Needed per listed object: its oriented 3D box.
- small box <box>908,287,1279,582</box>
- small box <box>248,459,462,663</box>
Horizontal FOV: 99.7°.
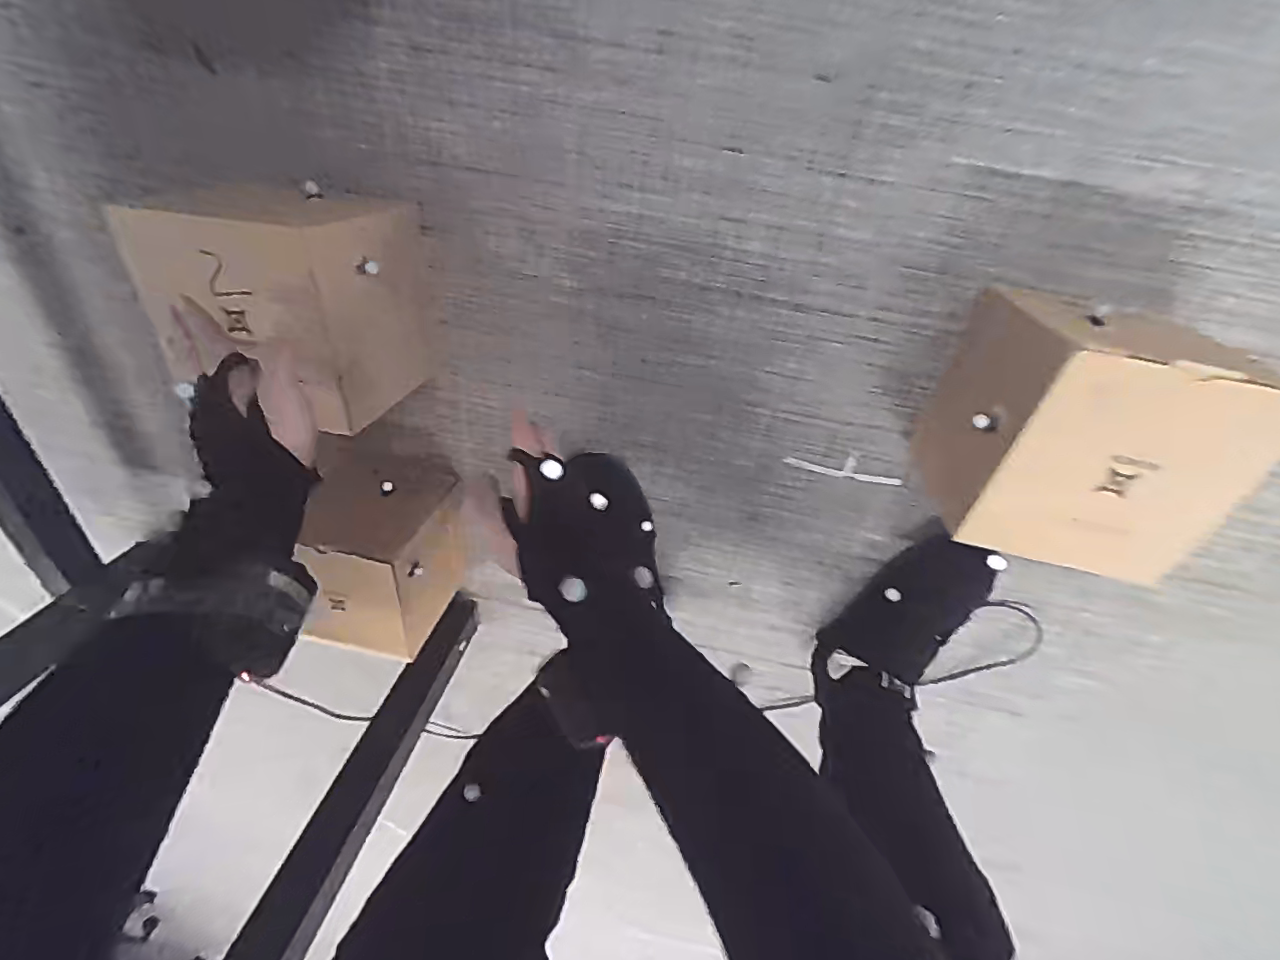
[{"bbox_3d":[0.356,-0.048,0.459,0.168,0.176,0.179,13,124,3],"label":"small box"},{"bbox_3d":[-0.343,0.098,0.693,0.168,0.176,0.179,10,124,5],"label":"small box"}]
